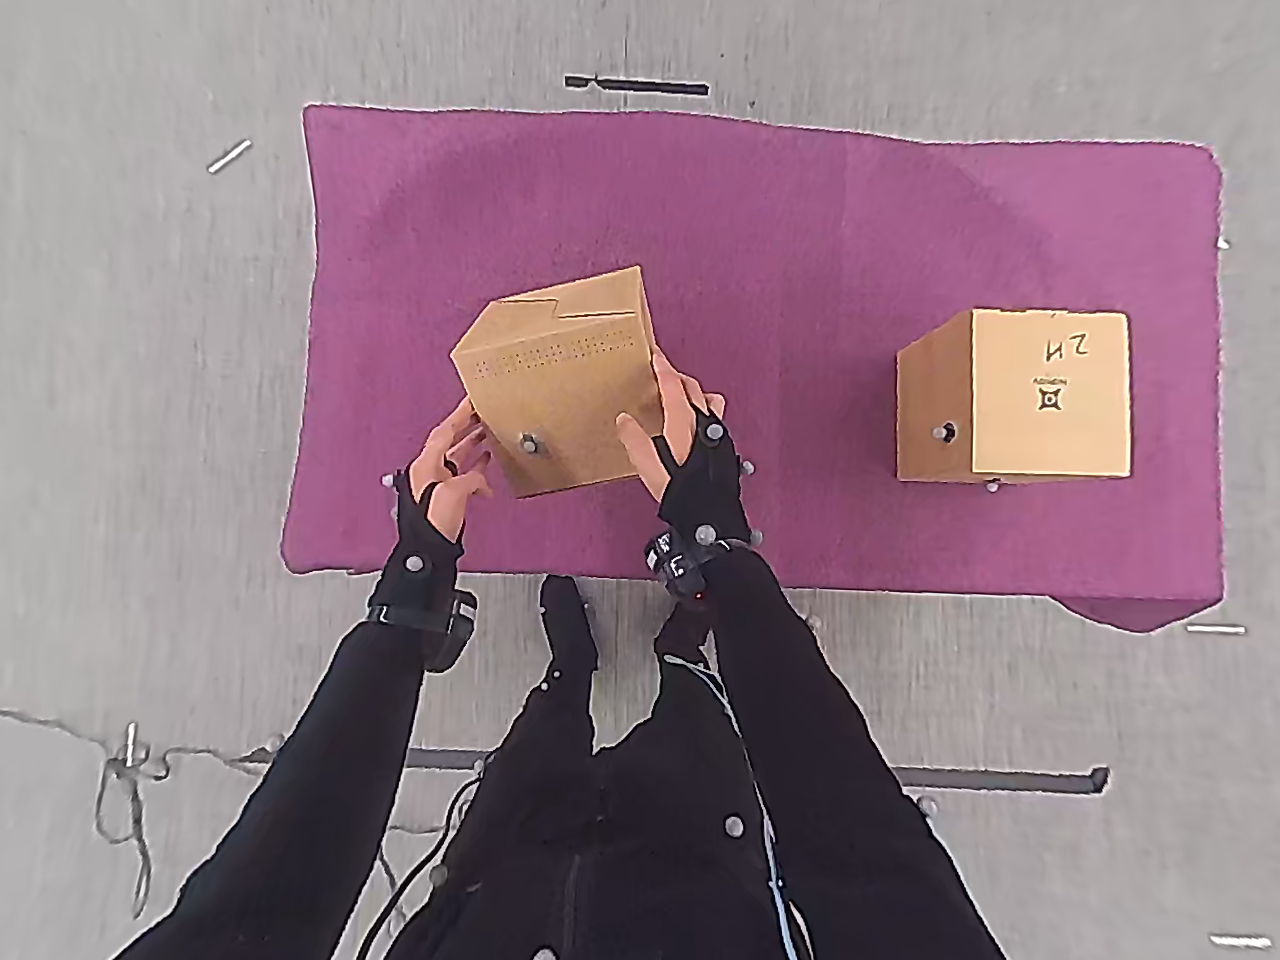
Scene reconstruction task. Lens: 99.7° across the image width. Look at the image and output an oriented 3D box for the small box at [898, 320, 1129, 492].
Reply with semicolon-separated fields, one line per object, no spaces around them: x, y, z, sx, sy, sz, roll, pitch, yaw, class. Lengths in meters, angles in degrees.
0.429;-0.076;0.648;0.168;0.176;0.179;2;87;0;small box
